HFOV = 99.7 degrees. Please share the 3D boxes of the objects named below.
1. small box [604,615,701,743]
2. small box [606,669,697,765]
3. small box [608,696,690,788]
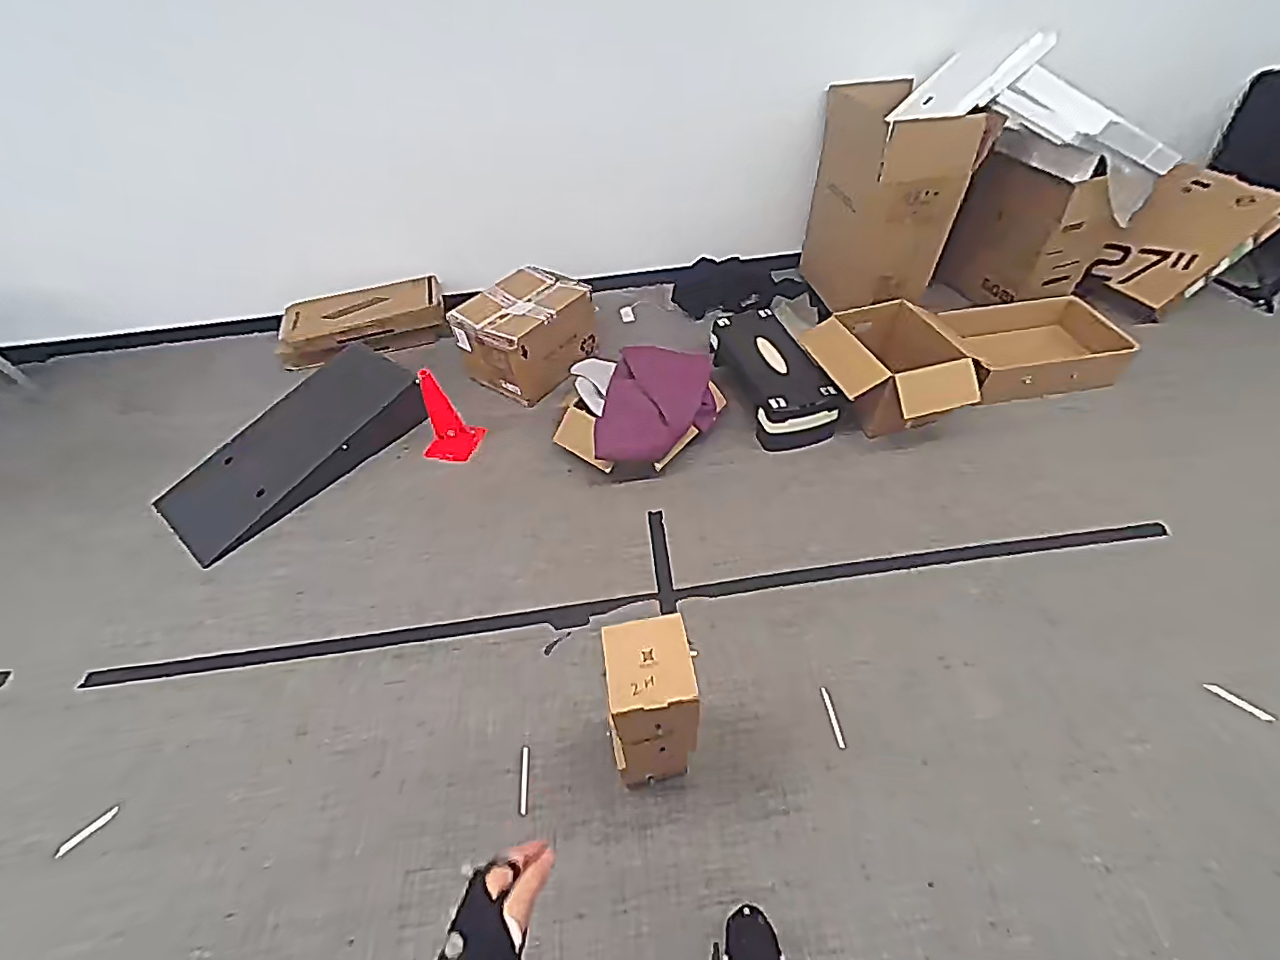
[{"bbox_3d":[0.024,0.399,1.084,0.168,0.176,0.179,-10,48,-2],"label":"small box"},{"bbox_3d":[0.028,0.514,1.204,0.168,0.176,0.179,-13,49,-6],"label":"small box"},{"bbox_3d":[0.022,0.625,1.326,0.168,0.176,0.179,-13,50,-5],"label":"small box"}]
